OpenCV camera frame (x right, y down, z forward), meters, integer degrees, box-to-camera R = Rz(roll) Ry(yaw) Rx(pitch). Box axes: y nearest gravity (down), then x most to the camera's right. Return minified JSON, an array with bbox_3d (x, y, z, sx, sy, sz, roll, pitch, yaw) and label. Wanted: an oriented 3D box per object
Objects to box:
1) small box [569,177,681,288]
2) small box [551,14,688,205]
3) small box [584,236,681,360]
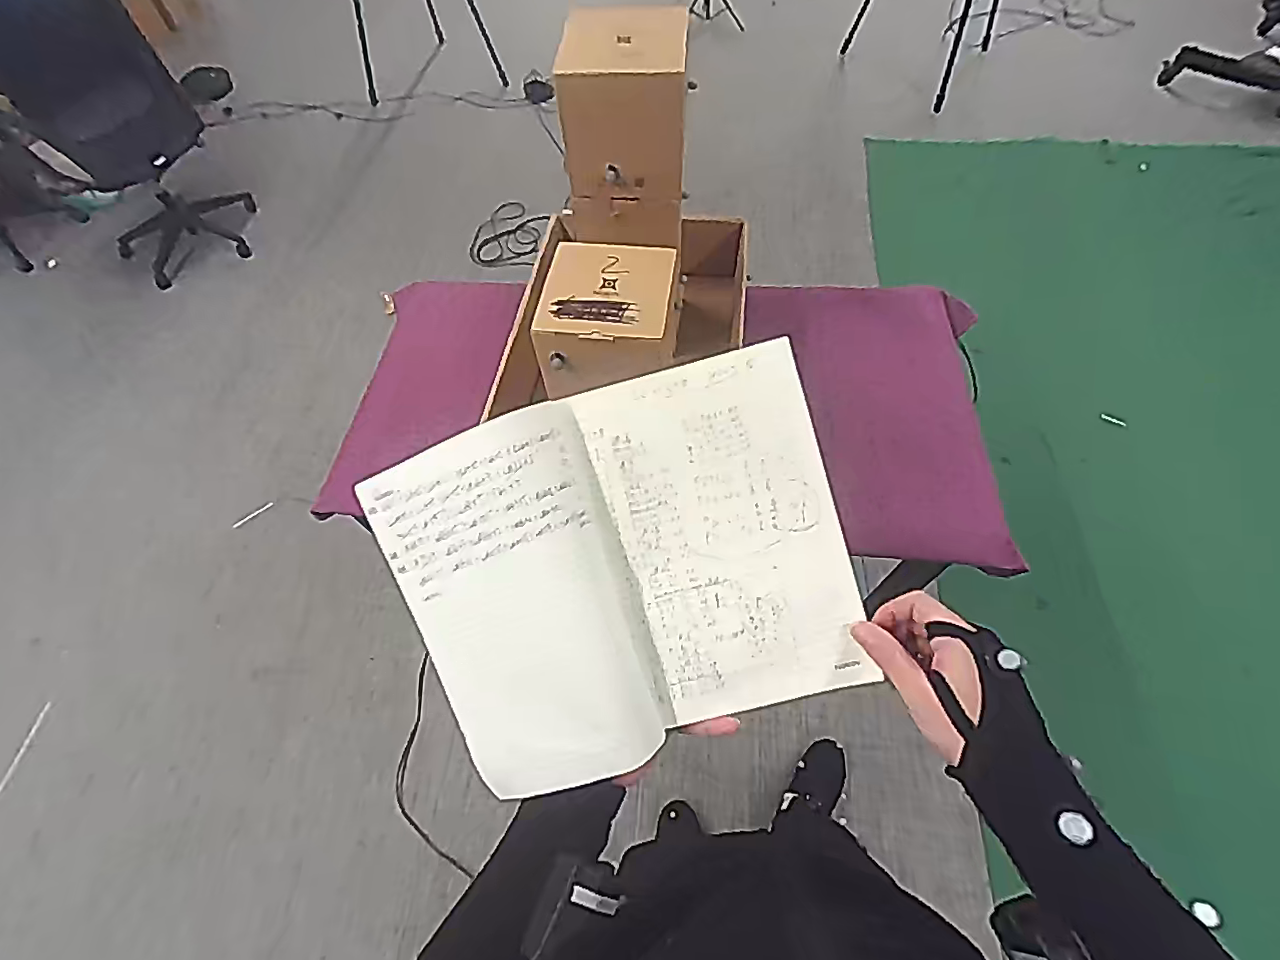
[{"bbox_3d":[-0.015,-0.447,0.915,0.168,0.176,0.179,3,60,4],"label":"small box"},{"bbox_3d":[-0.020,-0.526,0.773,0.168,0.176,0.179,3,62,4],"label":"small box"},{"bbox_3d":[-0.009,-0.359,1.055,0.168,0.176,0.179,3,62,4],"label":"small box"}]
